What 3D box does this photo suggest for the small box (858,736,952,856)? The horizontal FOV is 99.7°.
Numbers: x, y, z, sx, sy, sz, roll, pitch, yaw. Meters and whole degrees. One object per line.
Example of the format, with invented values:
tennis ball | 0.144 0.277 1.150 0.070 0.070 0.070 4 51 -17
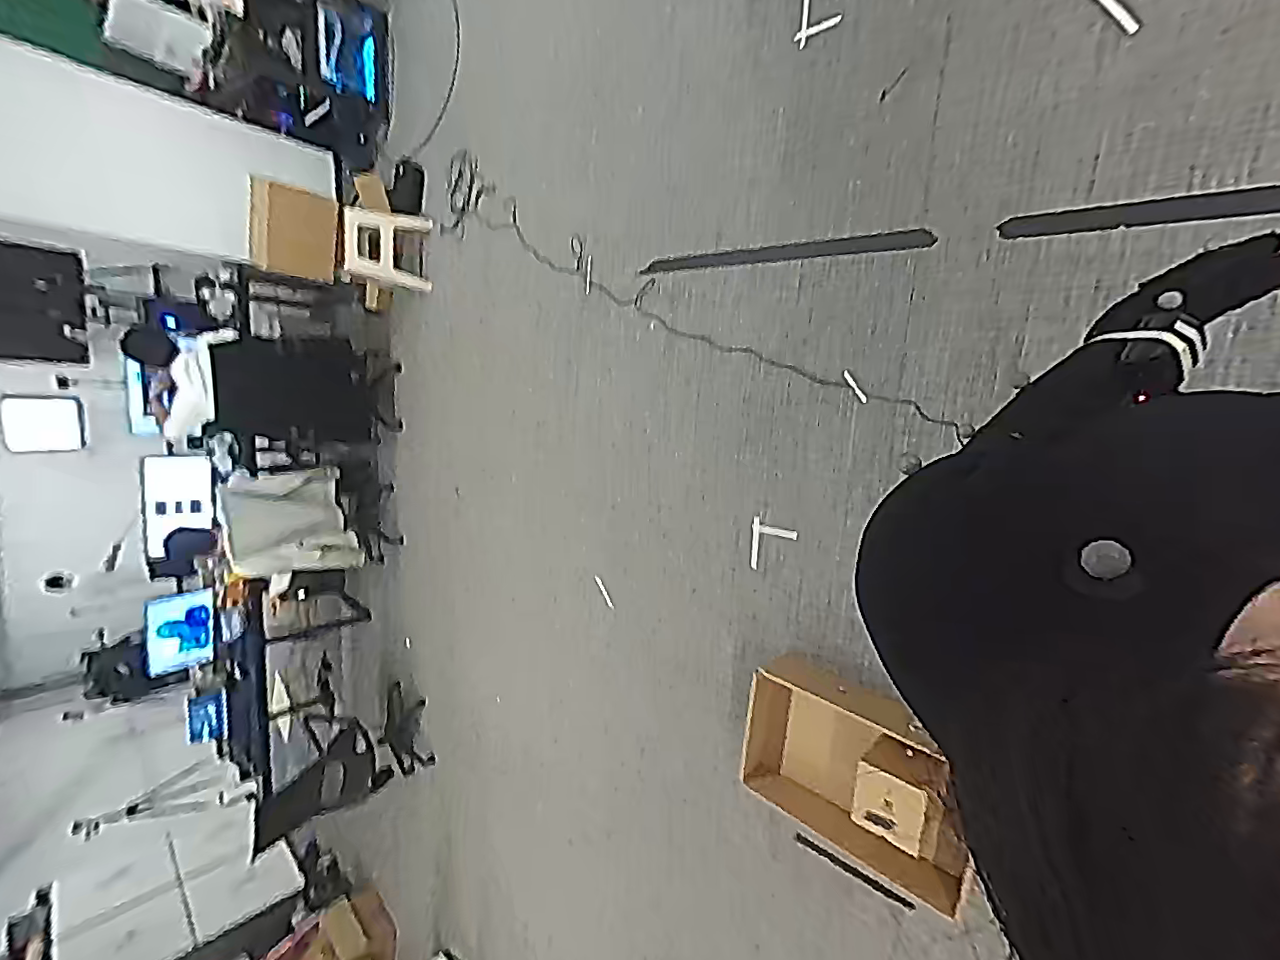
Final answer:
small box | 0.685 0.802 1.392 0.168 0.176 0.179 11 102 43
